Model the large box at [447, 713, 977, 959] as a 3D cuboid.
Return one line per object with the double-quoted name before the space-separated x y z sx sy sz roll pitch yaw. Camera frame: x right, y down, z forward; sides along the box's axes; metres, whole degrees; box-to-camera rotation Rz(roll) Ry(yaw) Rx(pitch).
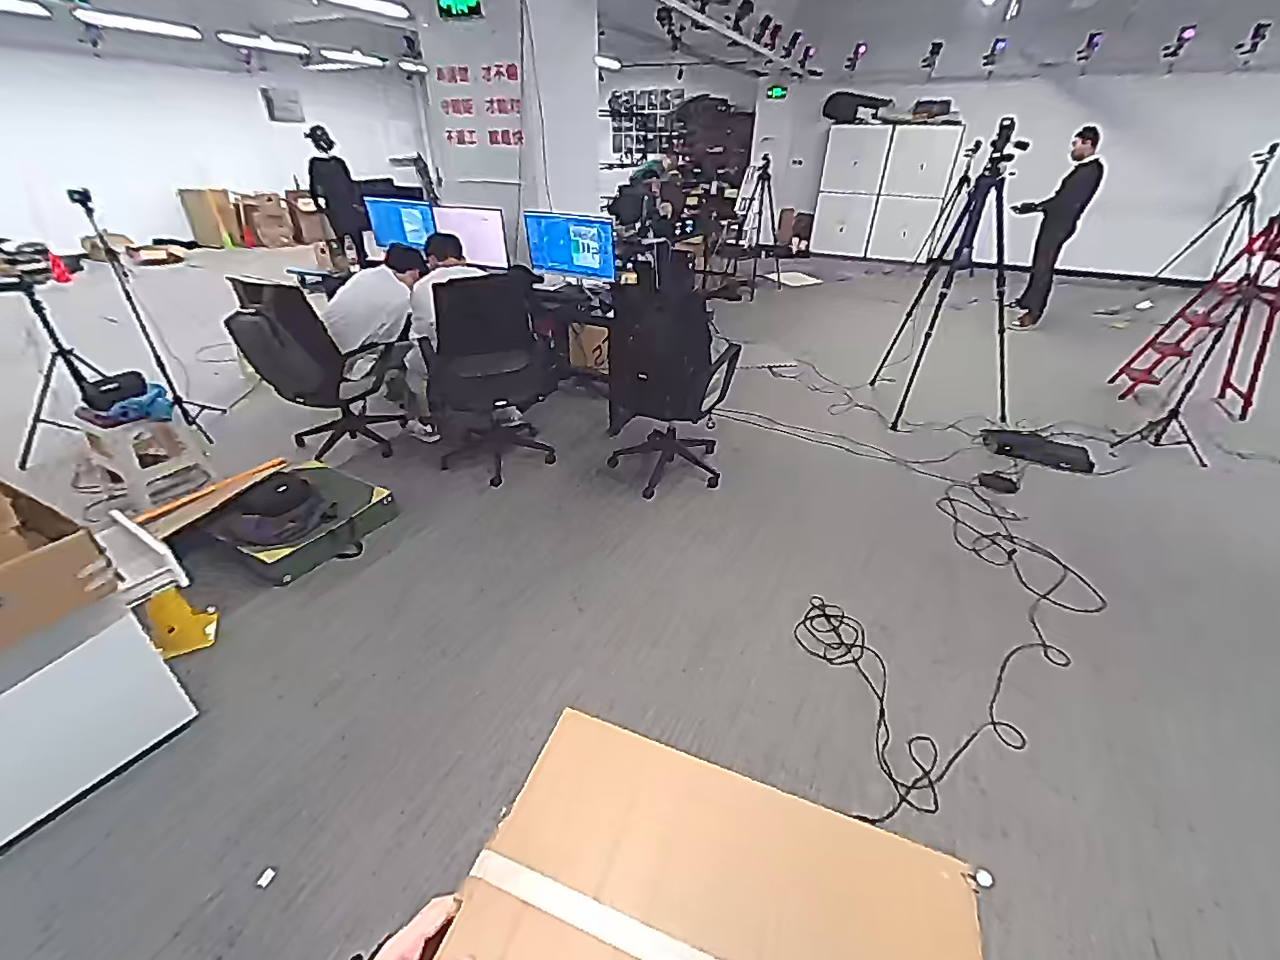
"large box" 0.048 0.500 0.511 0.408 0.320 0.320 16 38 14
